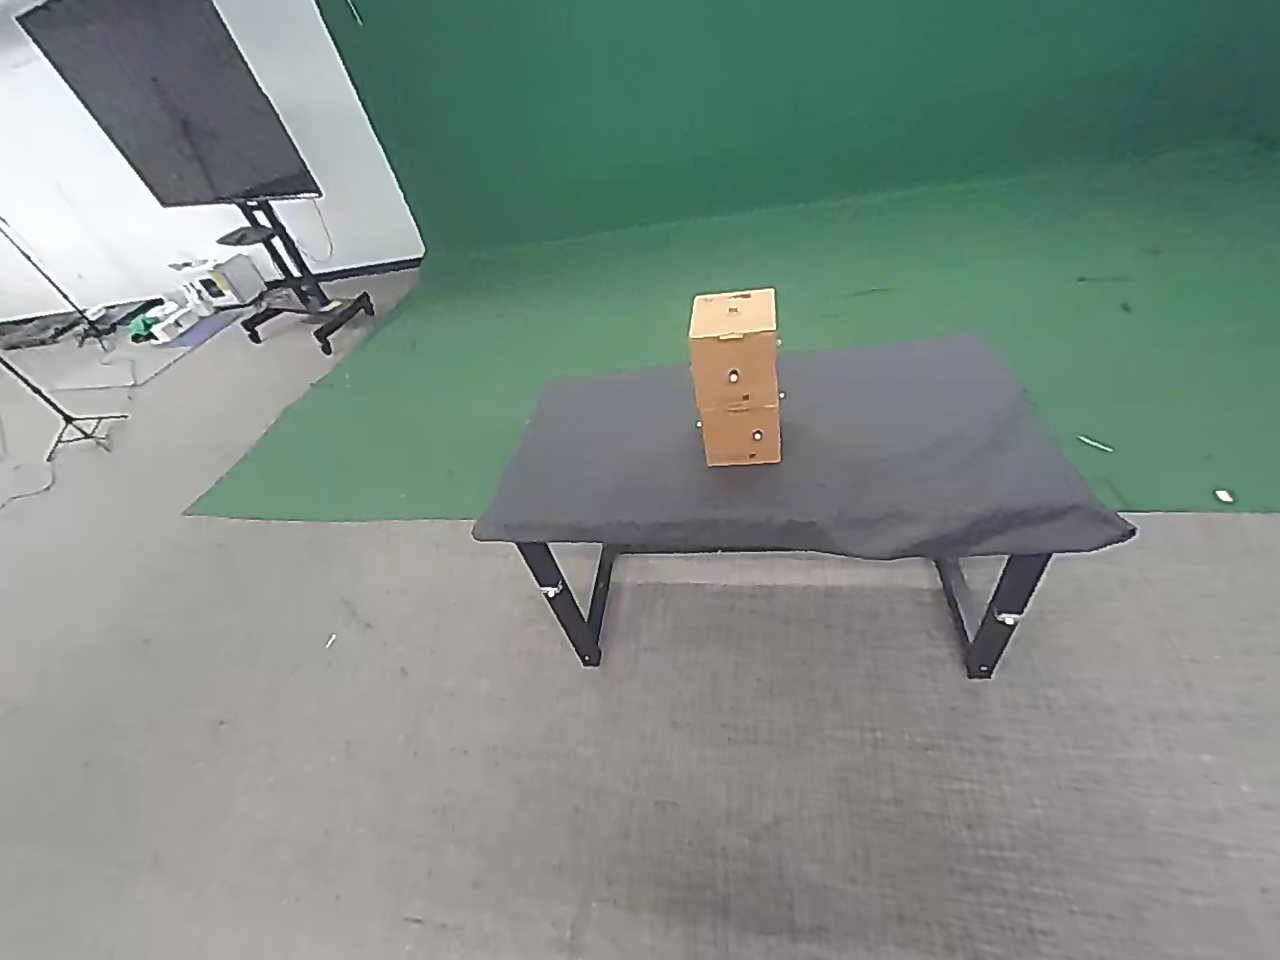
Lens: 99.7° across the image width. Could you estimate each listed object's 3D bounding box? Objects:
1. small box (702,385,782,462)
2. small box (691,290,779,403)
[{"bbox_3d":[0.237,-0.152,1.238,0.168,0.176,0.179,-2,43,12],"label":"small box"},{"bbox_3d":[0.204,-0.272,1.130,0.168,0.176,0.179,-1,46,13],"label":"small box"}]
